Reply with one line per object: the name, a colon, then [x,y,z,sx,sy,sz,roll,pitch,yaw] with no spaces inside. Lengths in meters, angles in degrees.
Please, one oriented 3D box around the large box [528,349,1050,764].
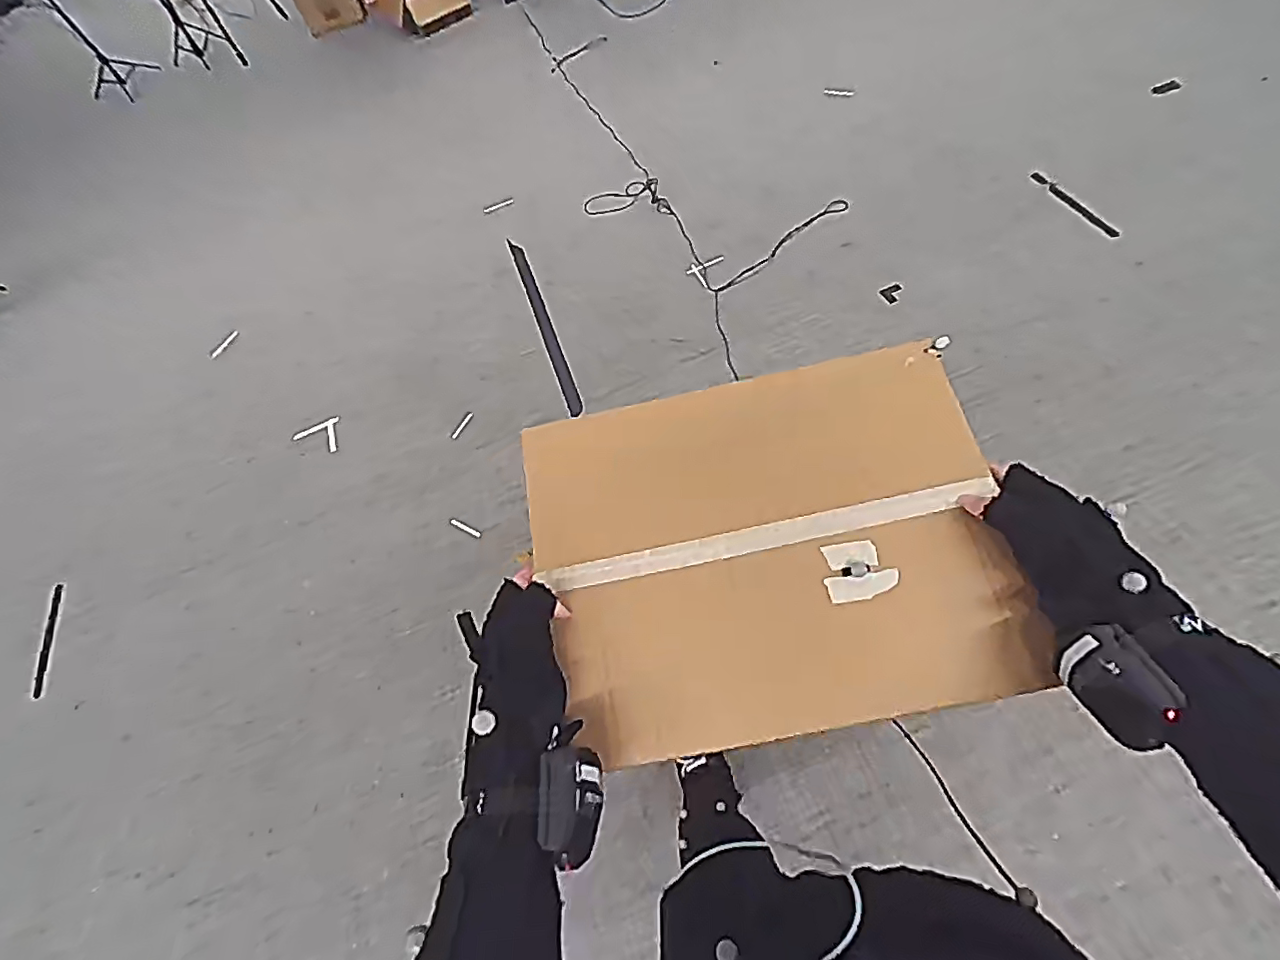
large box: [0.122,0.104,0.627,0.408,0.320,0.320,-12,69,2]
